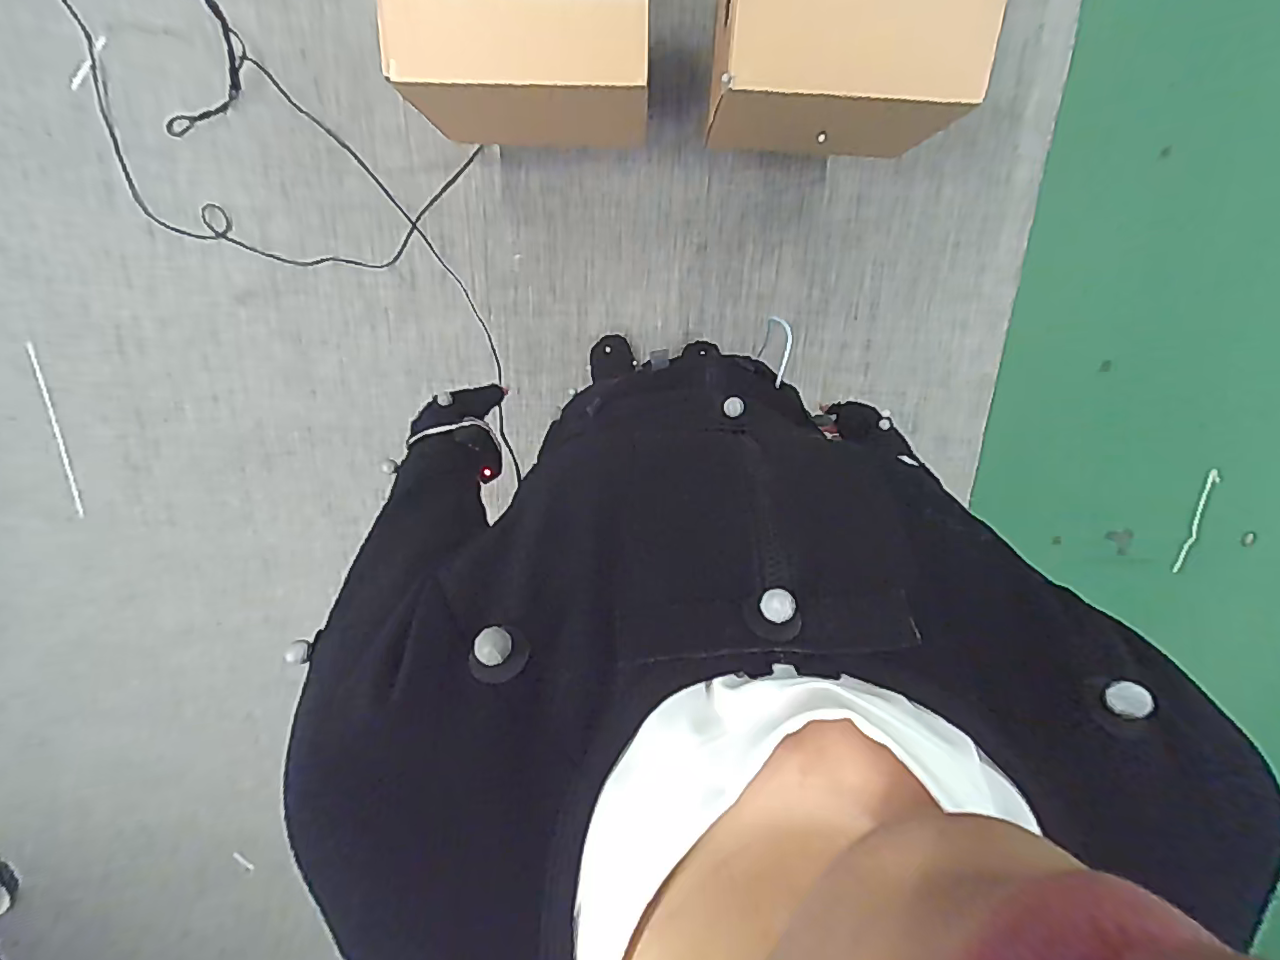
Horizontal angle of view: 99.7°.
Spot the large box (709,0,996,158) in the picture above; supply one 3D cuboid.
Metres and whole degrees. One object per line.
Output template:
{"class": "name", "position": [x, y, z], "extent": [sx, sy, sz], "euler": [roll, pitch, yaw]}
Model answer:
{"class": "large box", "position": [0.349, -0.789, 0.960], "extent": [0.408, 0.320, 0.320], "euler": [4, 106, 0]}
